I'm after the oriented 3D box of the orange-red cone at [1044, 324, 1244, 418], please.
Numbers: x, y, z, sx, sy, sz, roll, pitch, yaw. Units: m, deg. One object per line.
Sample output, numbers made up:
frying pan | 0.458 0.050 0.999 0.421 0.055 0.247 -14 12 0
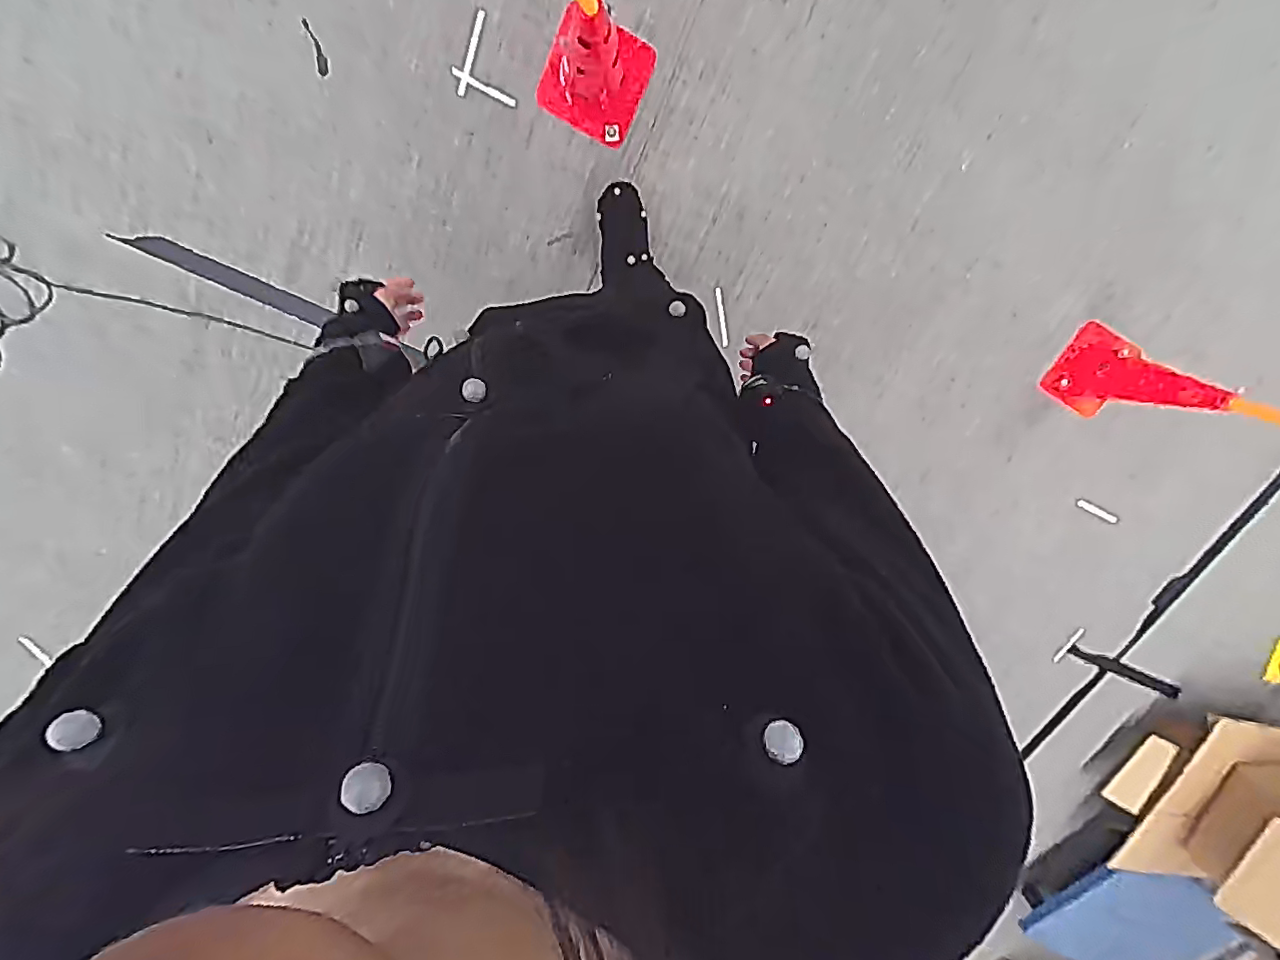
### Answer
orange-red cone | 1.183 -0.212 1.244 0.199 0.360 0.198 26 109 -14
